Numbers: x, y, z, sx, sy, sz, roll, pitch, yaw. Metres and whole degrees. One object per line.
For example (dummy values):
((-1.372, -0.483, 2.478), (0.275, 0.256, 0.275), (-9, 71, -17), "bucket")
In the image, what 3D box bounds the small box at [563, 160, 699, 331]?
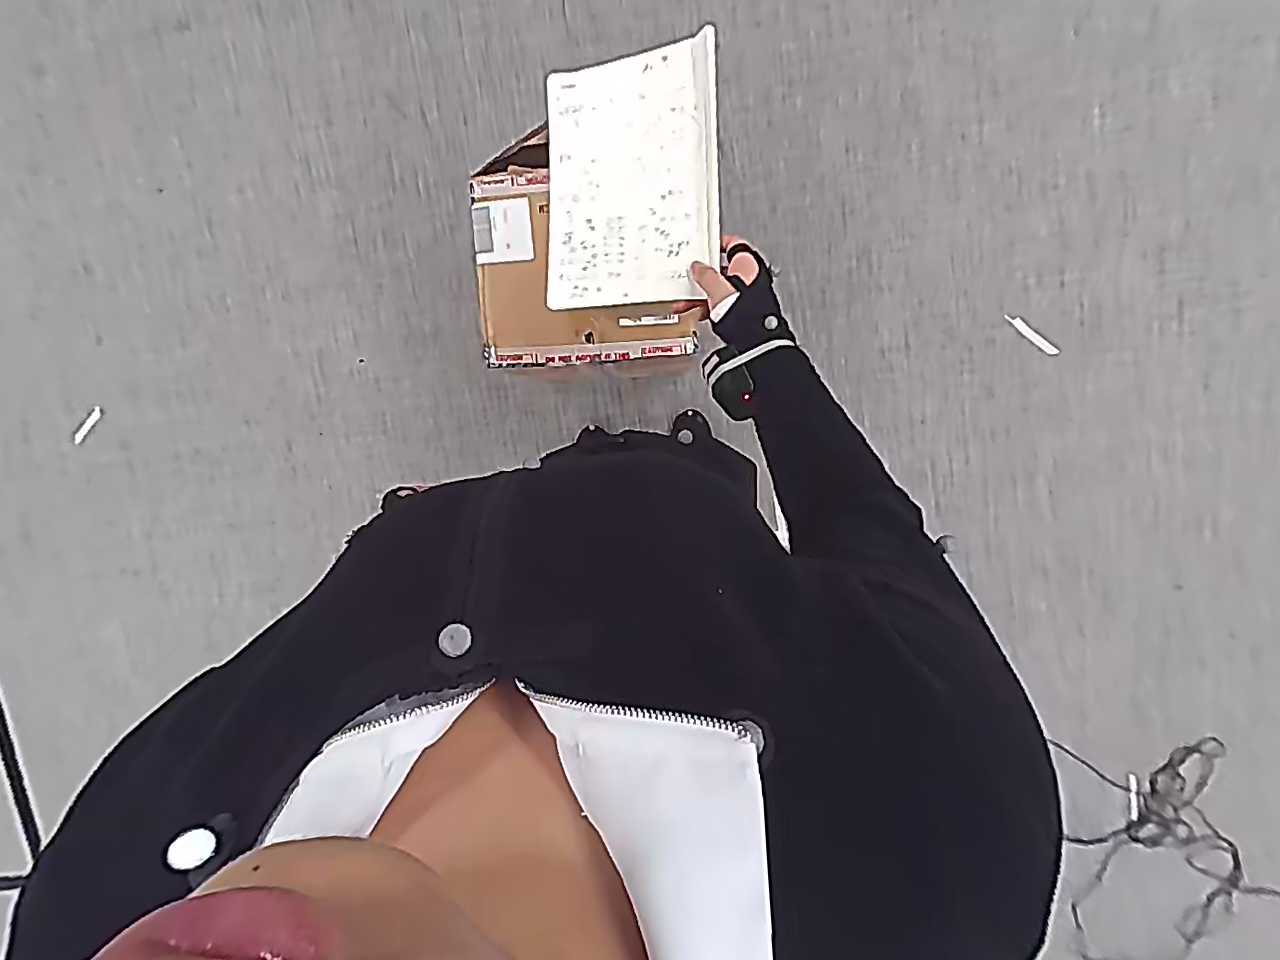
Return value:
((-0.012, -0.304, 0.731), (0.168, 0.176, 0.179), (-1, 98, 0), "small box")

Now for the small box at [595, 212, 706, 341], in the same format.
((0.008, -0.328, 0.894), (0.179, 0.176, 0.168), (-5, 97, 1), "small box")
